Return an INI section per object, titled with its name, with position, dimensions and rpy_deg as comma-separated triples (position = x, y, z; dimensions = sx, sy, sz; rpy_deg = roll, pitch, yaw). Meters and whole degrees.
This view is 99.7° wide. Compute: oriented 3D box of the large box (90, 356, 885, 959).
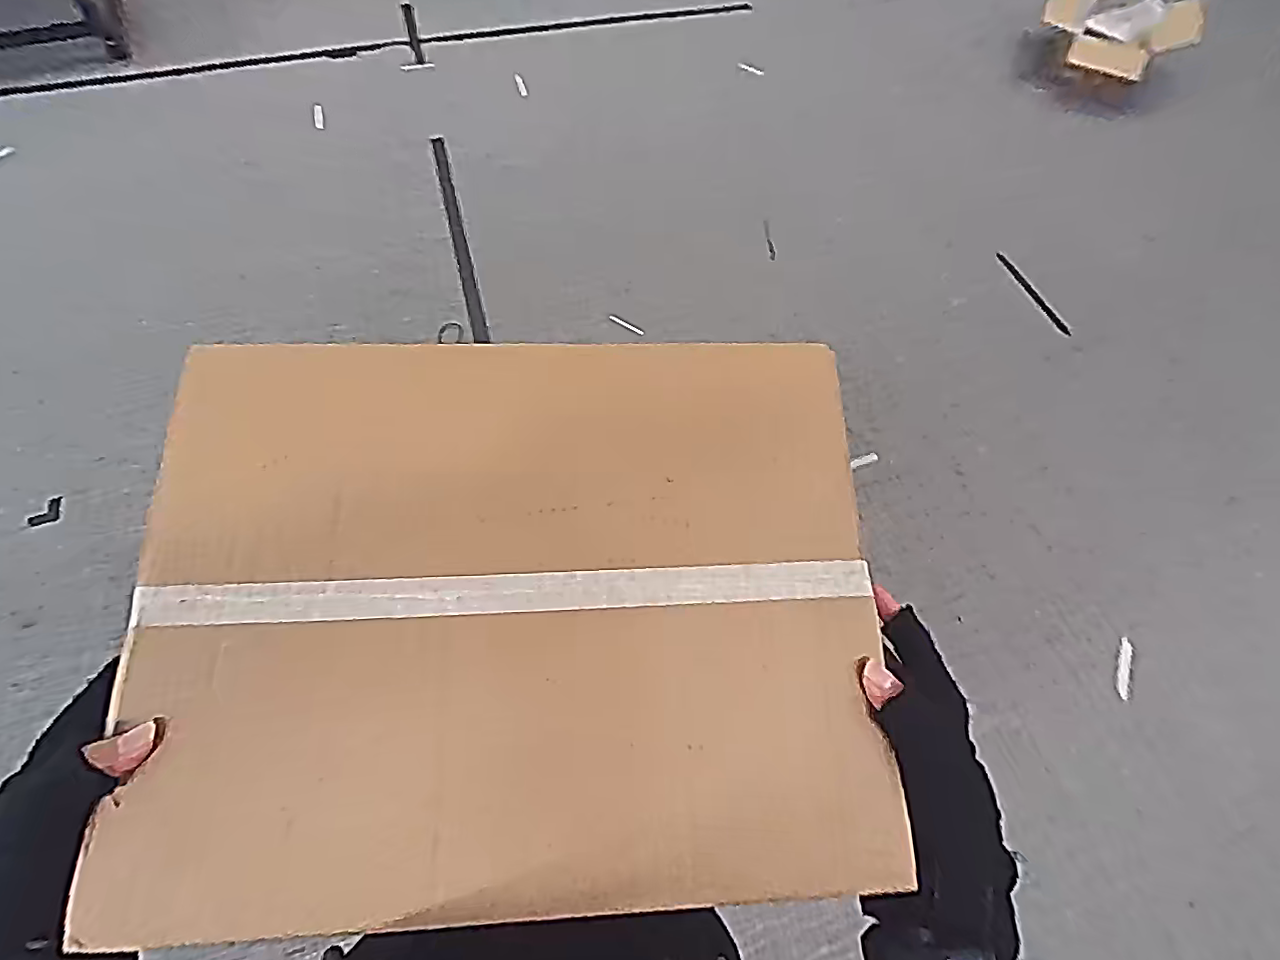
[large box]
position = -0.083, 0.114, 0.453
dimensions = 0.408, 0.320, 0.320
rpy_deg = -3, 73, -4
